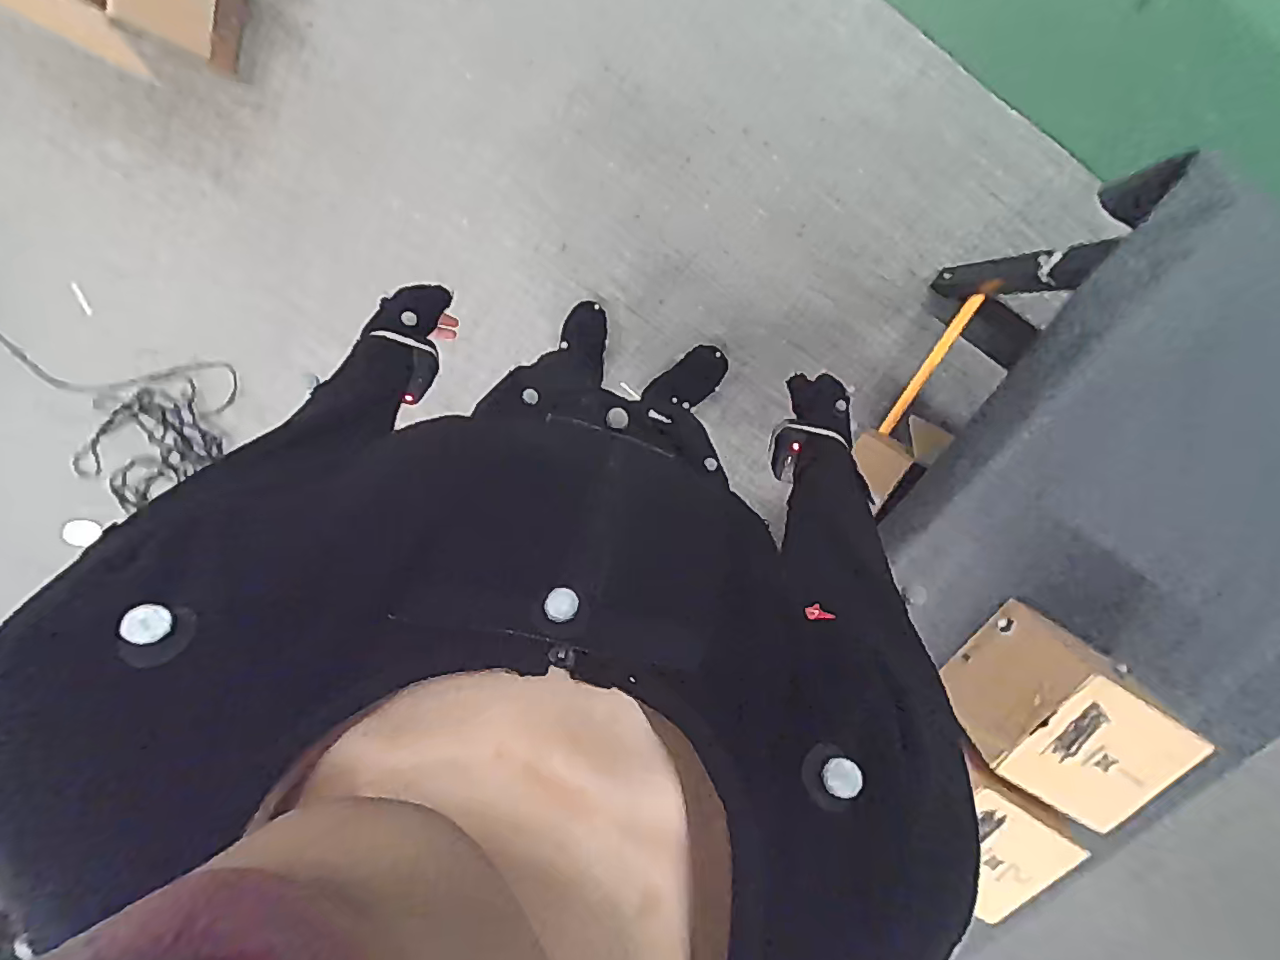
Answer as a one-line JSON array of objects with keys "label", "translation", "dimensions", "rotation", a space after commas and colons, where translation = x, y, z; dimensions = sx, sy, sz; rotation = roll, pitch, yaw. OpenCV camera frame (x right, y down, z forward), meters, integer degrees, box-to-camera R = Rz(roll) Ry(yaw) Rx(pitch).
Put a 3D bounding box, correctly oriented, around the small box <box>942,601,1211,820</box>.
[{"label": "small box", "translation": [0.544, 0.286, 0.708], "dimensions": [0.179, 0.176, 0.168], "rotation": [31, 109, -6]}]
